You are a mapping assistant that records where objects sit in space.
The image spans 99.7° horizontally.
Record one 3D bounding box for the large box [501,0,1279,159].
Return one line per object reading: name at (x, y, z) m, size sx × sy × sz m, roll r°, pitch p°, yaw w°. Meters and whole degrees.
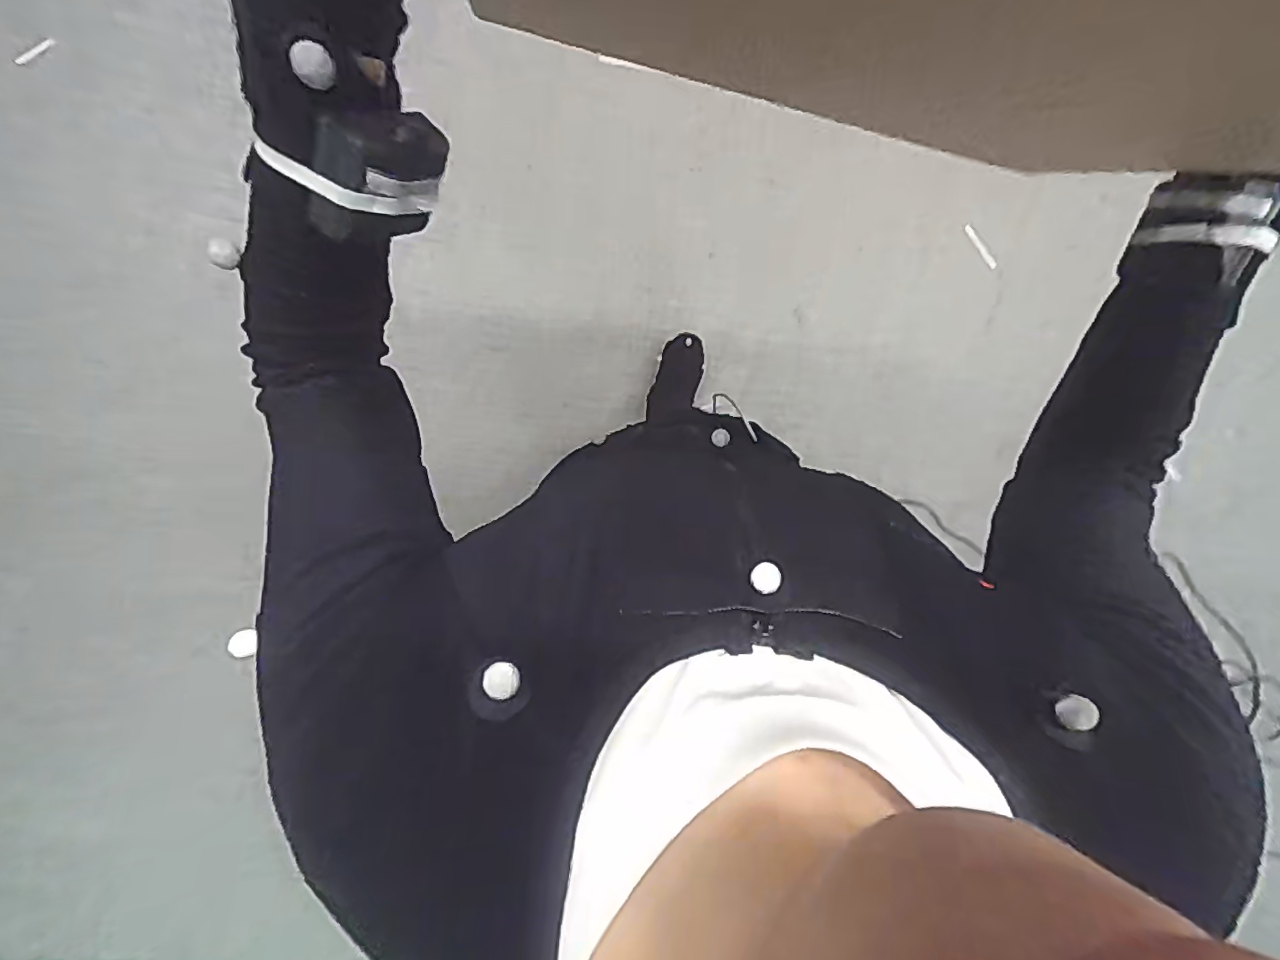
large box at (0.176, -0.307, 0.153) m, size 0.408 × 0.320 × 0.320 m, roll 1°, pitch 119°, yaw -20°
